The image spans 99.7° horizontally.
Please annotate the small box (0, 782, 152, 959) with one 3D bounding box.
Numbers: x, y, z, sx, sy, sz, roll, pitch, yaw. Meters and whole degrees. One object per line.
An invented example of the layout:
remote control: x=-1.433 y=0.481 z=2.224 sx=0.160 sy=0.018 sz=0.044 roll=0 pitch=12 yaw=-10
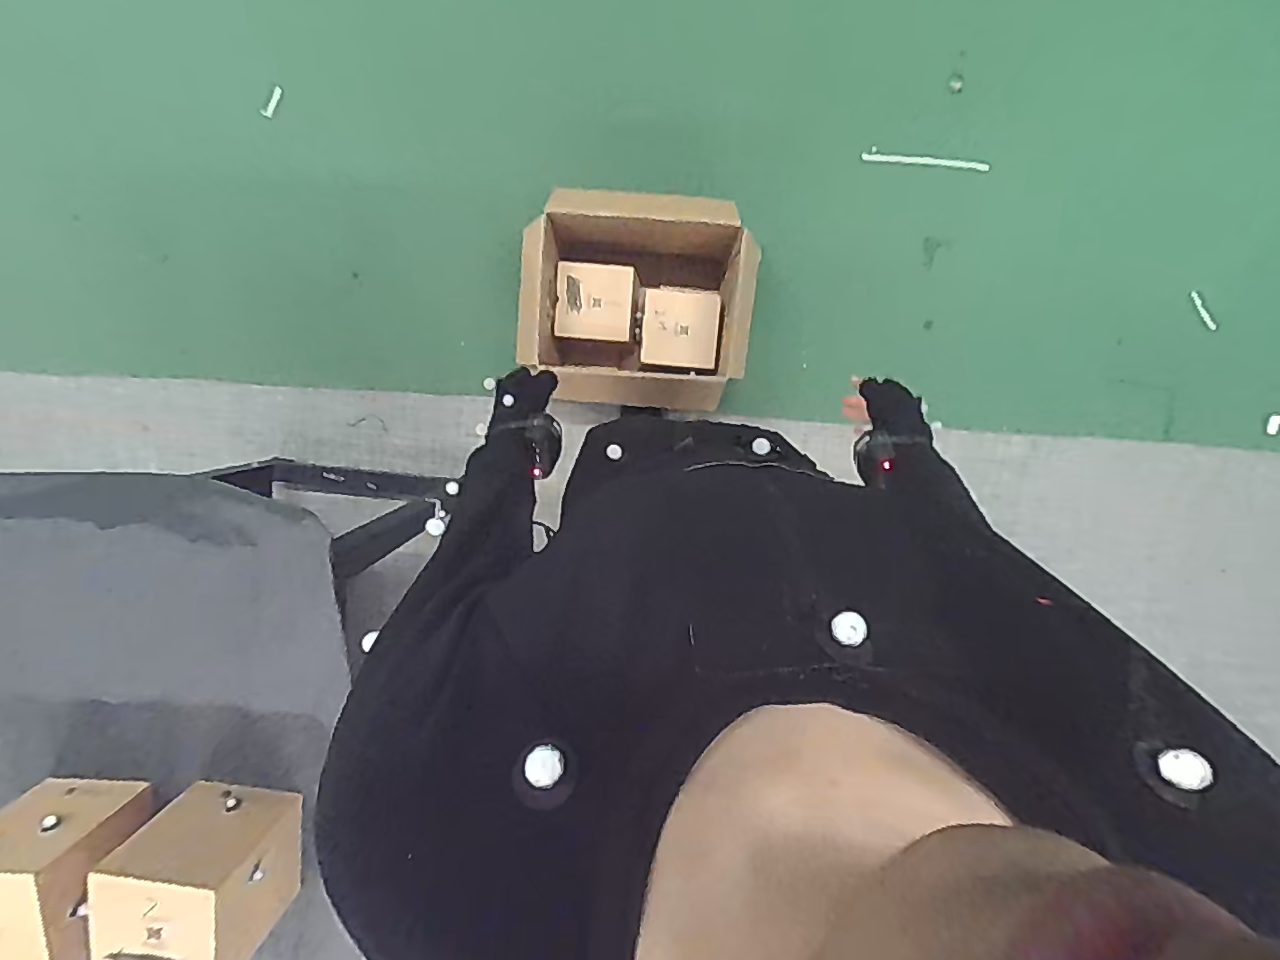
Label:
small box: x=-0.843 y=0.557 z=0.758 sx=0.168 sy=0.176 sz=0.179 roll=2 pitch=100 yaw=0
